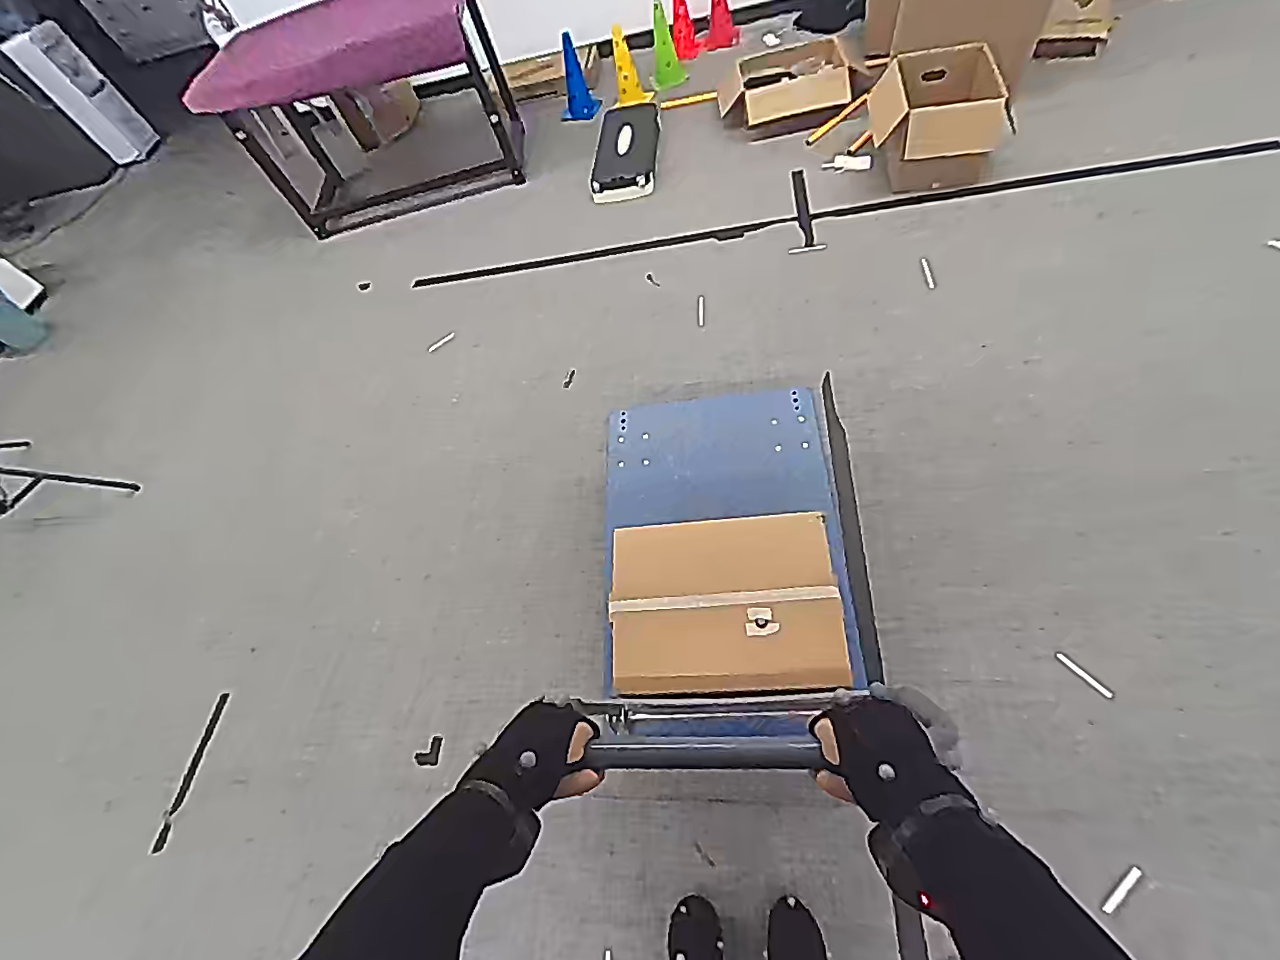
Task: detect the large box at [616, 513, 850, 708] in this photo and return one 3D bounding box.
[{"bbox_3d":[0.177,0.288,1.125,0.408,0.320,0.320,-6,63,9],"label":"large box"}]
